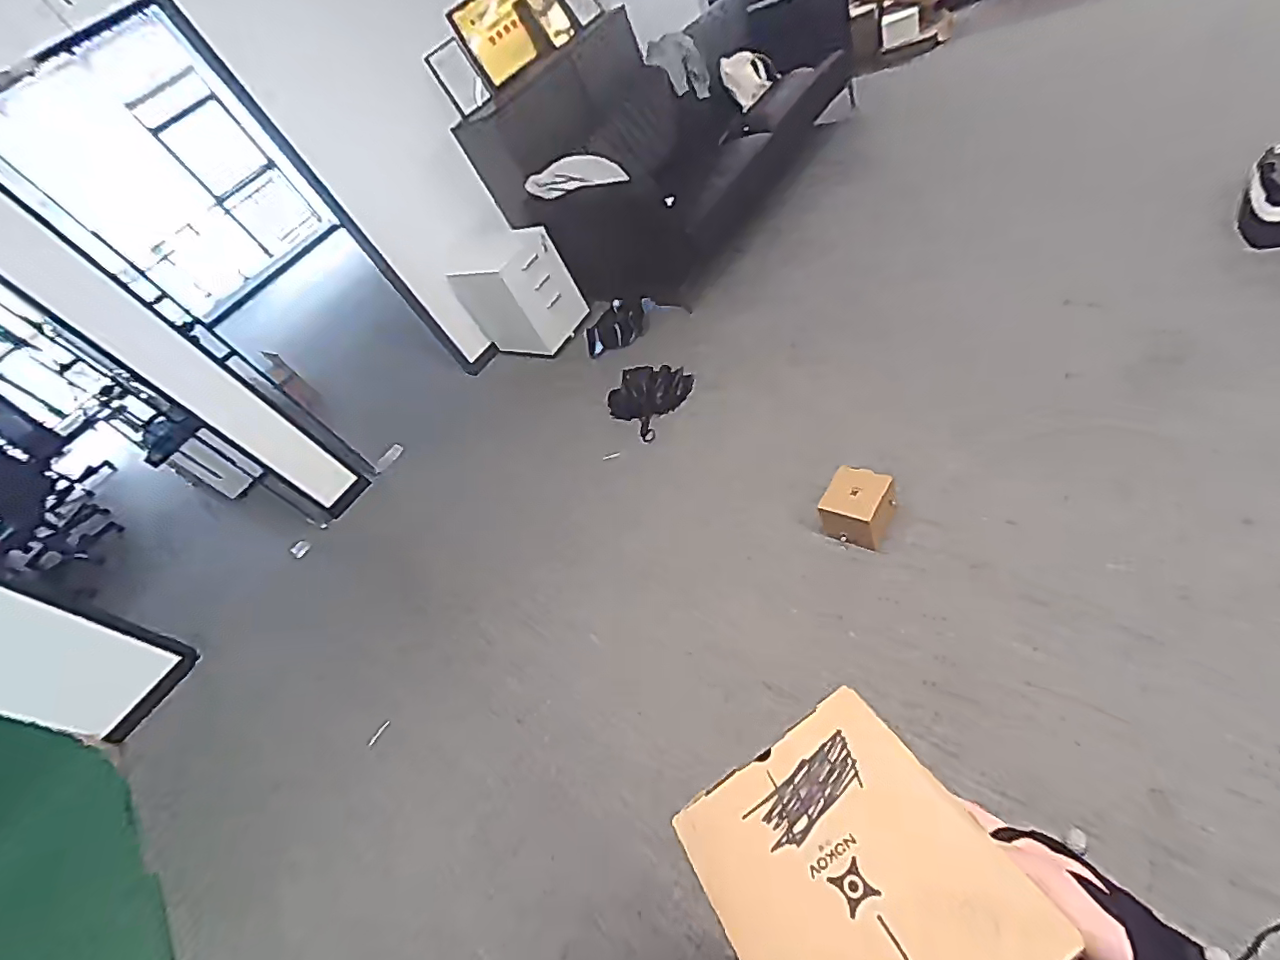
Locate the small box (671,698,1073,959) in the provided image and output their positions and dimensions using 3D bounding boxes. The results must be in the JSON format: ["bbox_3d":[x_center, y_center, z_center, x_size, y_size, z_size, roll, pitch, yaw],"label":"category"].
[{"bbox_3d":[0.151,0.303,0.388,0.168,0.176,0.179,-33,41,-6],"label":"small box"}]

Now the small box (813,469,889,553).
[{"bbox_3d":[0.667,0.096,1.694,0.168,0.176,0.179,18,64,40],"label":"small box"}]
